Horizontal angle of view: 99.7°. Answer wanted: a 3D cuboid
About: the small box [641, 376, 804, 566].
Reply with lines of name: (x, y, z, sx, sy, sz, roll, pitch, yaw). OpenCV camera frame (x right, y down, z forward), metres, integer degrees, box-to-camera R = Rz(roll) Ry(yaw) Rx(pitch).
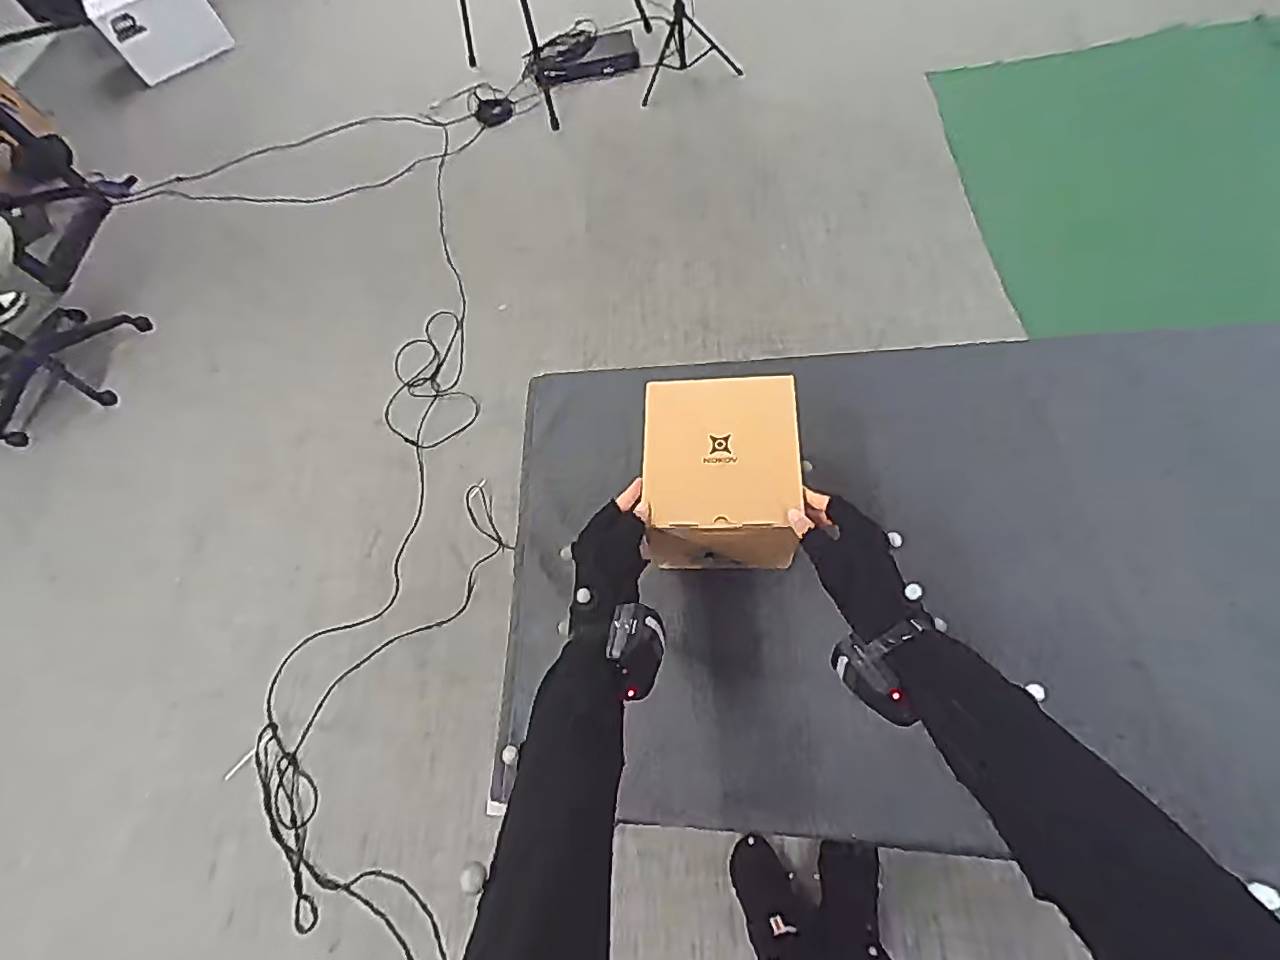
small box: (0.095, -0.004, 0.646, 0.168, 0.176, 0.179, -1, 68, 9)
